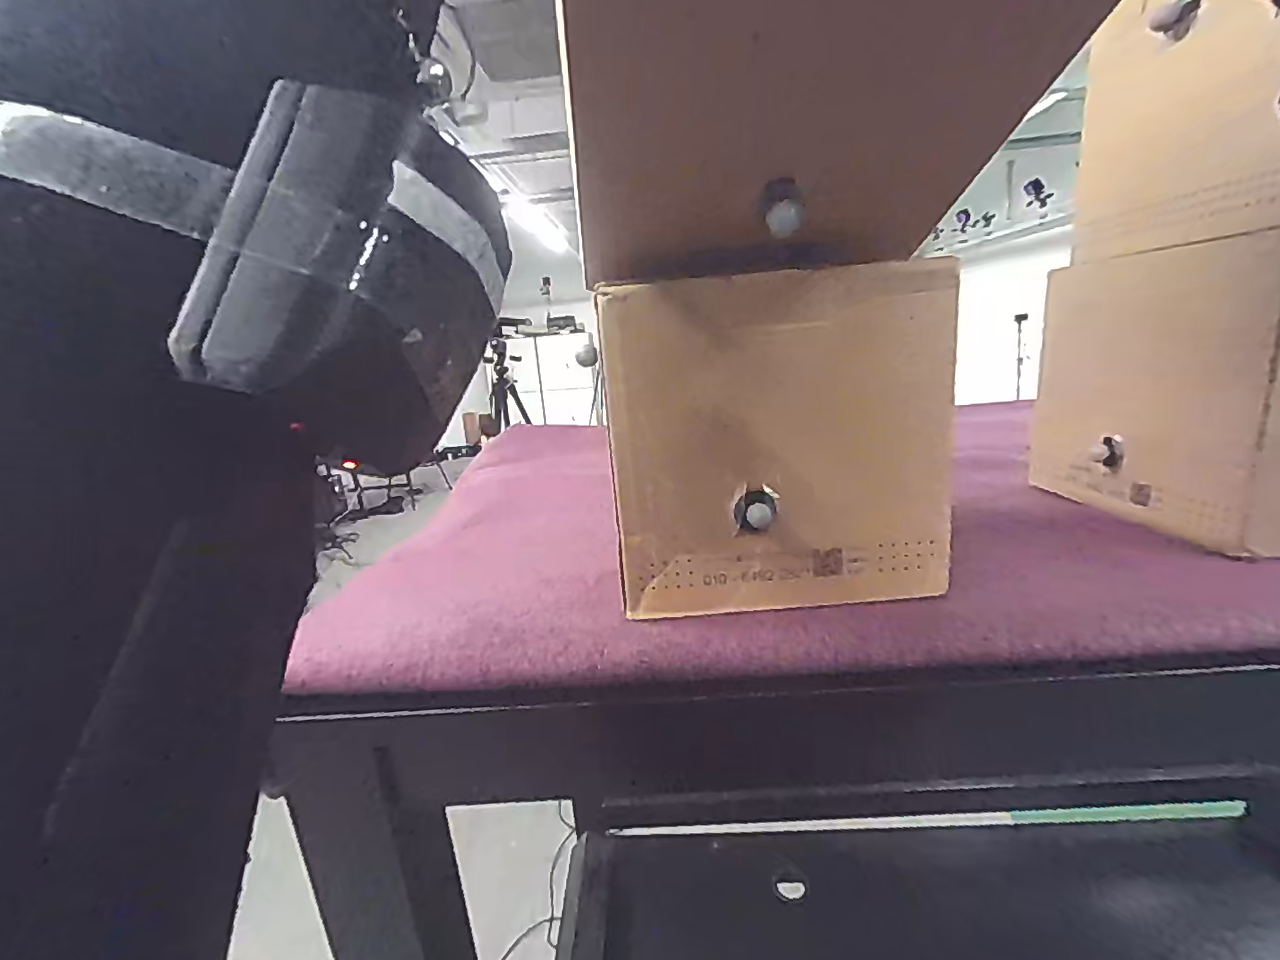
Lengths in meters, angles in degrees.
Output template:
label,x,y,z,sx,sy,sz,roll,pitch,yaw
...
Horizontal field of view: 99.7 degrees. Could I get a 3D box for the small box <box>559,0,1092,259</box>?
label,x,y,z,sx,sy,sz,roll,pitch,yaw
small box,0.049,-0.213,0.216,0.168,0.179,0.176,-5,-15,-3

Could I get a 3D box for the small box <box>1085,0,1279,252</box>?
label,x,y,z,sx,sy,sz,roll,pitch,yaw
small box,0.383,-0.226,0.287,0.168,0.176,0.179,-4,15,7

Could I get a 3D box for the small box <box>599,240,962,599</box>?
label,x,y,z,sx,sy,sz,roll,pitch,yaw
small box,0.067,-0.040,0.339,0.168,0.176,0.179,-5,13,0
